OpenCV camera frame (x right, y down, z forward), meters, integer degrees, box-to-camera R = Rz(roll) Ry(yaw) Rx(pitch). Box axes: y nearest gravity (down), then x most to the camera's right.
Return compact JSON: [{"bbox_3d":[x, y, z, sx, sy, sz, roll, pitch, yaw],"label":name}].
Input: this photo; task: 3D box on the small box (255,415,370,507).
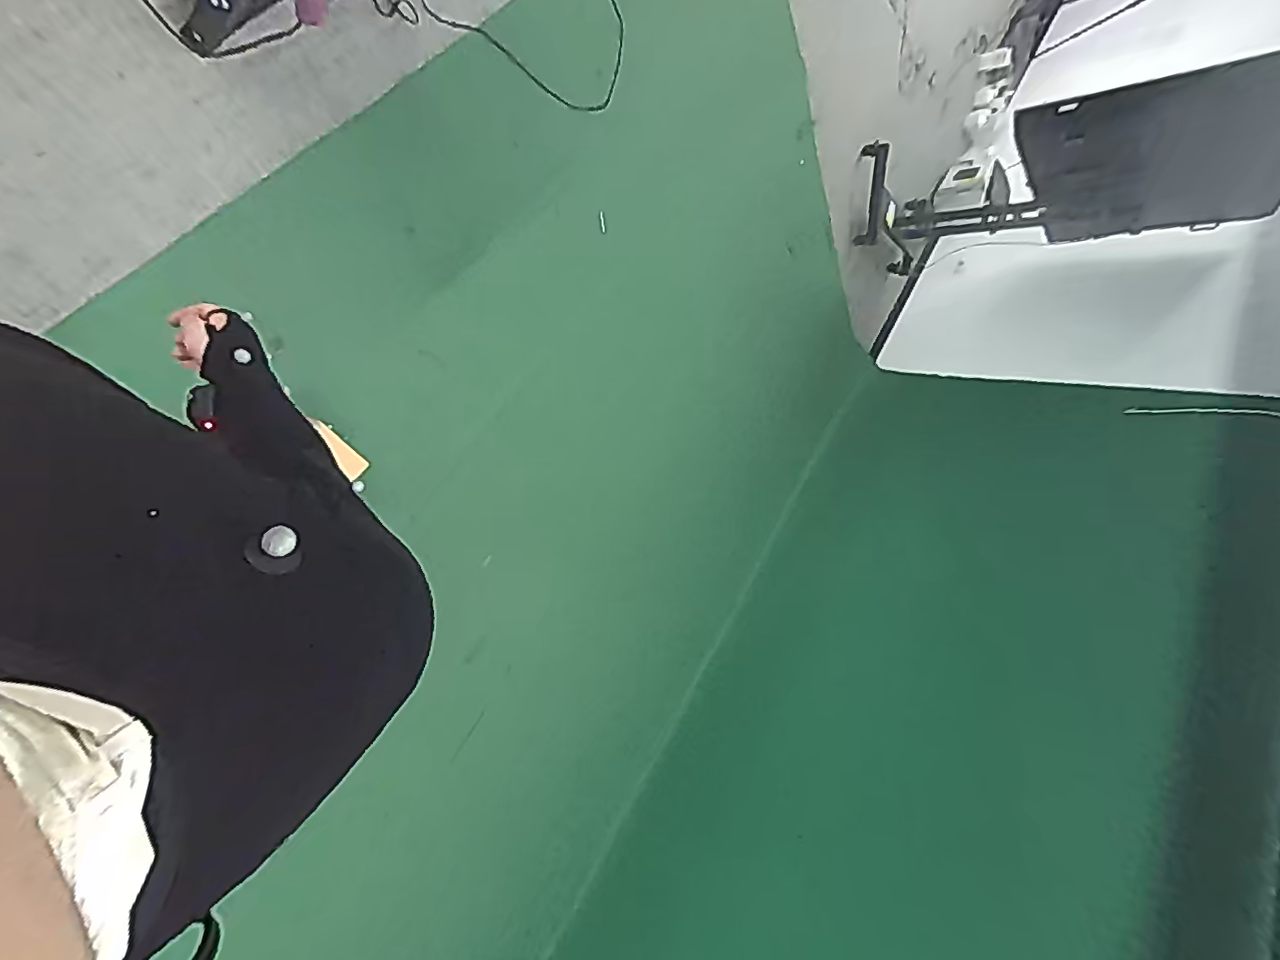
[{"bbox_3d":[-0.871,-0.057,1.440,0.168,0.176,0.179,-56,136,-22],"label":"small box"}]
